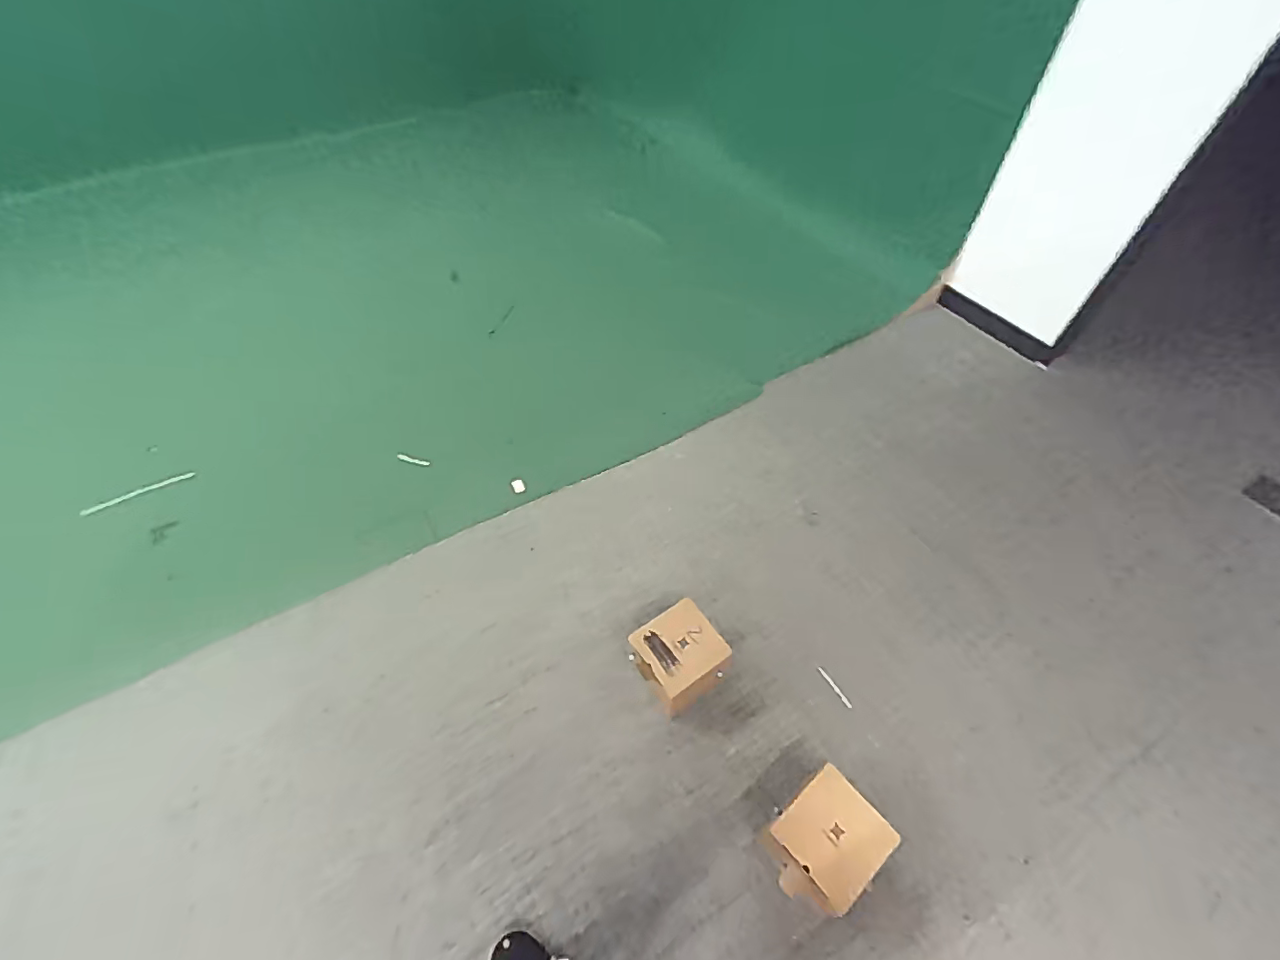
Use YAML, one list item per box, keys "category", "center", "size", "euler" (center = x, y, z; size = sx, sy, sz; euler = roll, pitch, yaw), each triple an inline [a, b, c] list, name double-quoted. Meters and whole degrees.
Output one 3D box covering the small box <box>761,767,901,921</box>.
- category: "small box"
  center: [0.354, 0.694, 1.039]
  size: [0.179, 0.176, 0.168]
  euler: [-34, 59, -22]
